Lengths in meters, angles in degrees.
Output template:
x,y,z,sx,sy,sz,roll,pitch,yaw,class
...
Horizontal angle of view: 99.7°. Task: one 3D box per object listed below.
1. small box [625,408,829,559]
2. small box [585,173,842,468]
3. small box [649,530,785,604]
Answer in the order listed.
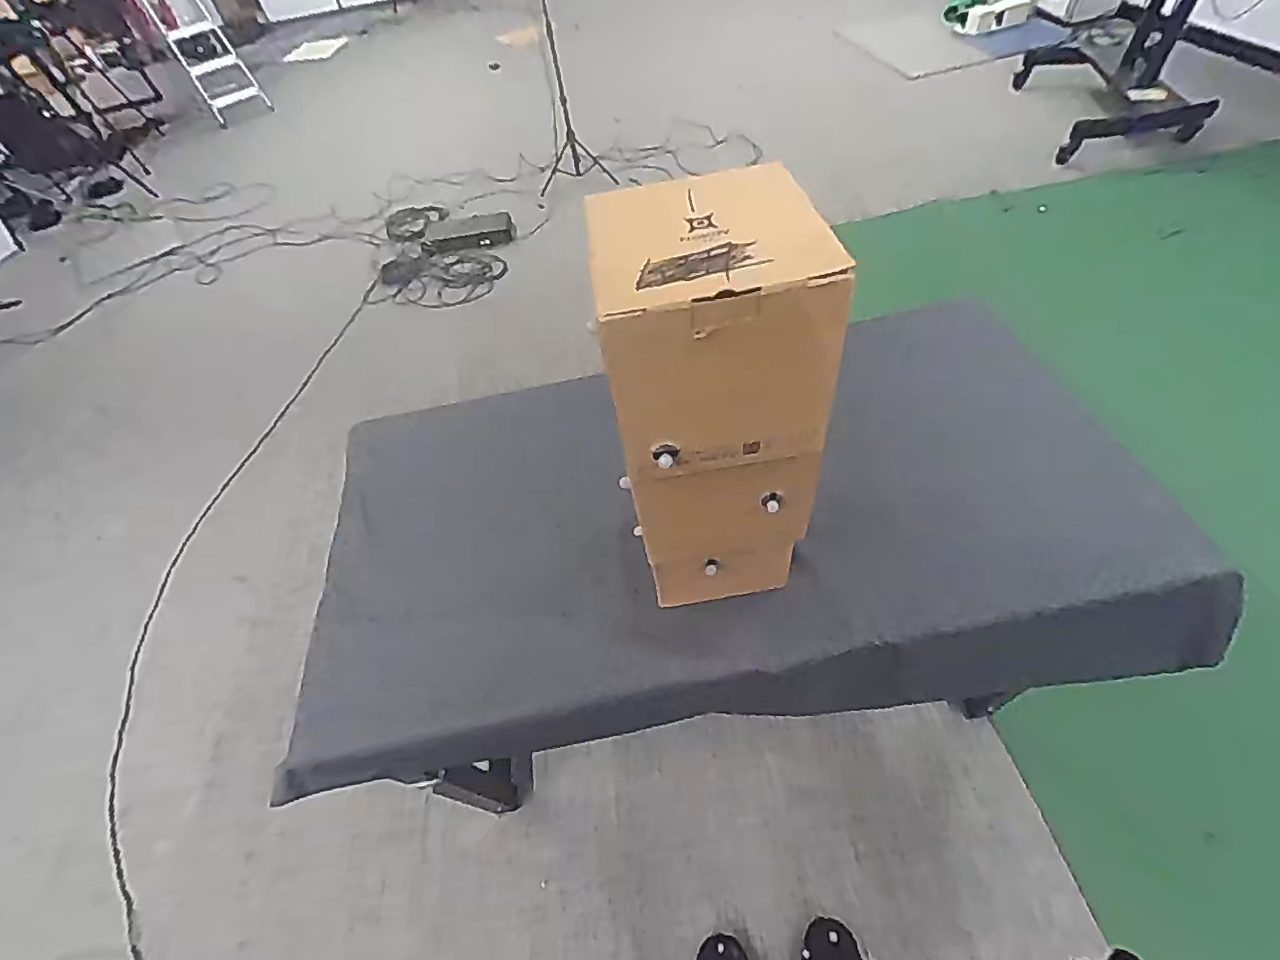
x,y,z,sx,sy,sz,roll,pitch,yaw,class
0.073,-0.038,0.576,0.179,0.176,0.168,-13,52,-2,small box
0.052,-0.125,0.458,0.168,0.176,0.179,-9,50,1,small box
0.091,0.049,0.736,0.179,0.176,0.168,-12,51,-2,small box
